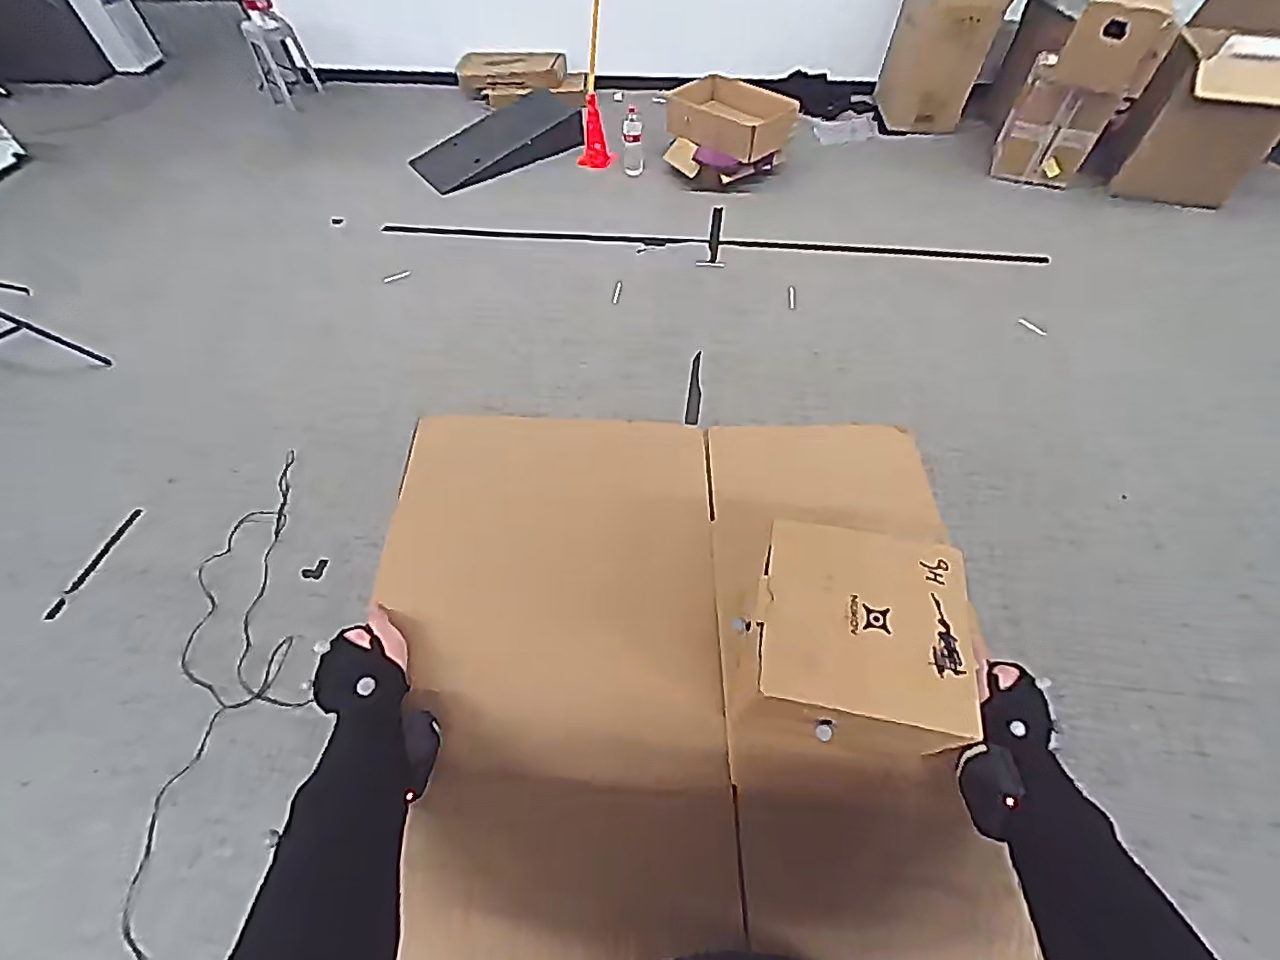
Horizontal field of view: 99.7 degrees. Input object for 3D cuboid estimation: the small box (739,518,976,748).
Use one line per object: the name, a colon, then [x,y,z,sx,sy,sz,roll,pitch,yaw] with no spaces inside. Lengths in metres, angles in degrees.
small box: [0.200,0.160,0.545,0.179,0.176,0.168,9,59,8]
